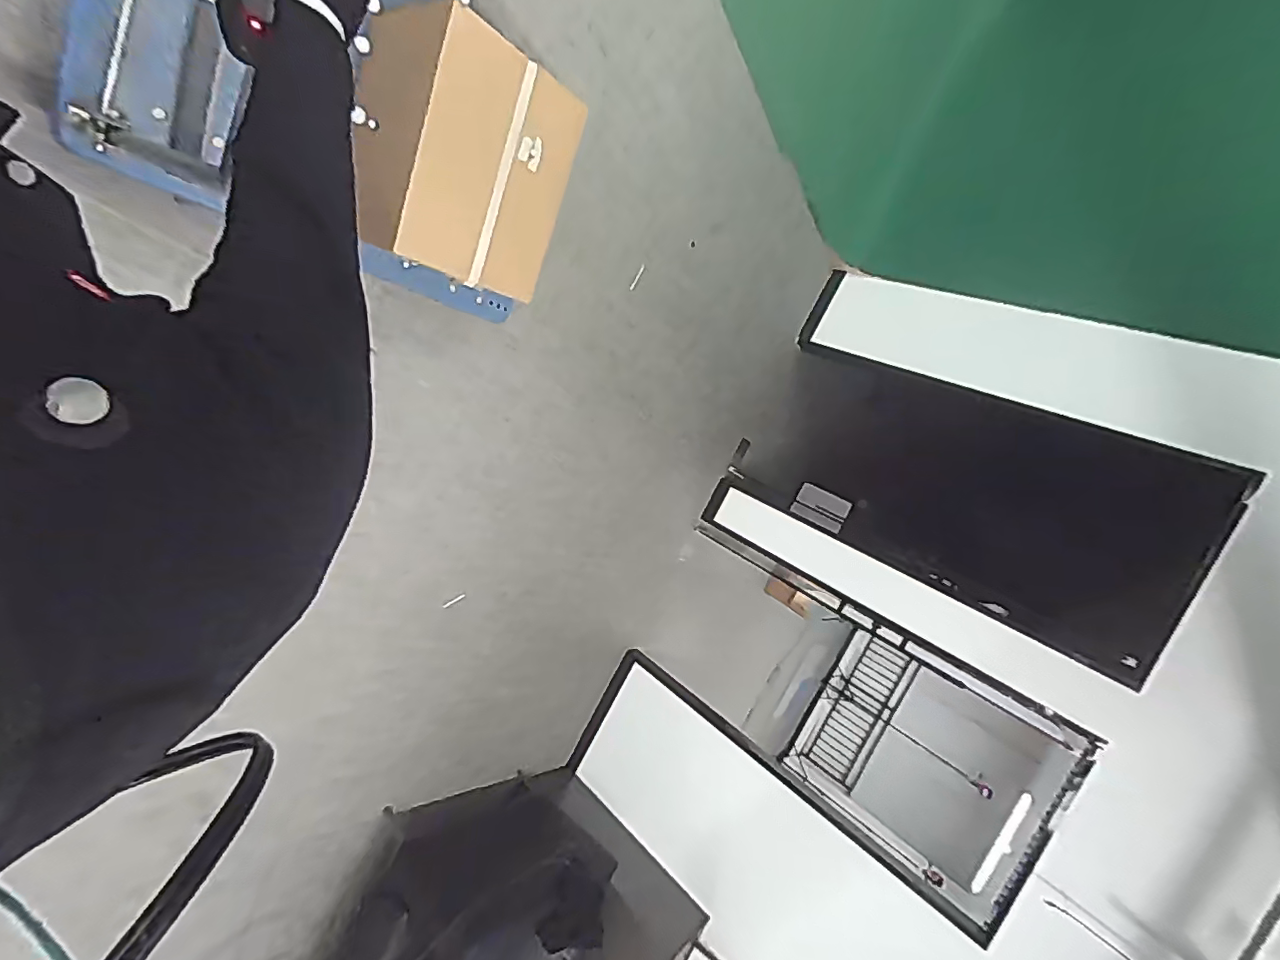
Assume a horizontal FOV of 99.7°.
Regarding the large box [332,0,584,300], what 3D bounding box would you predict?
[{"bbox_3d":[-0.374,-0.630,1.094,0.320,0.320,0.408,3,112,-53],"label":"large box"}]
